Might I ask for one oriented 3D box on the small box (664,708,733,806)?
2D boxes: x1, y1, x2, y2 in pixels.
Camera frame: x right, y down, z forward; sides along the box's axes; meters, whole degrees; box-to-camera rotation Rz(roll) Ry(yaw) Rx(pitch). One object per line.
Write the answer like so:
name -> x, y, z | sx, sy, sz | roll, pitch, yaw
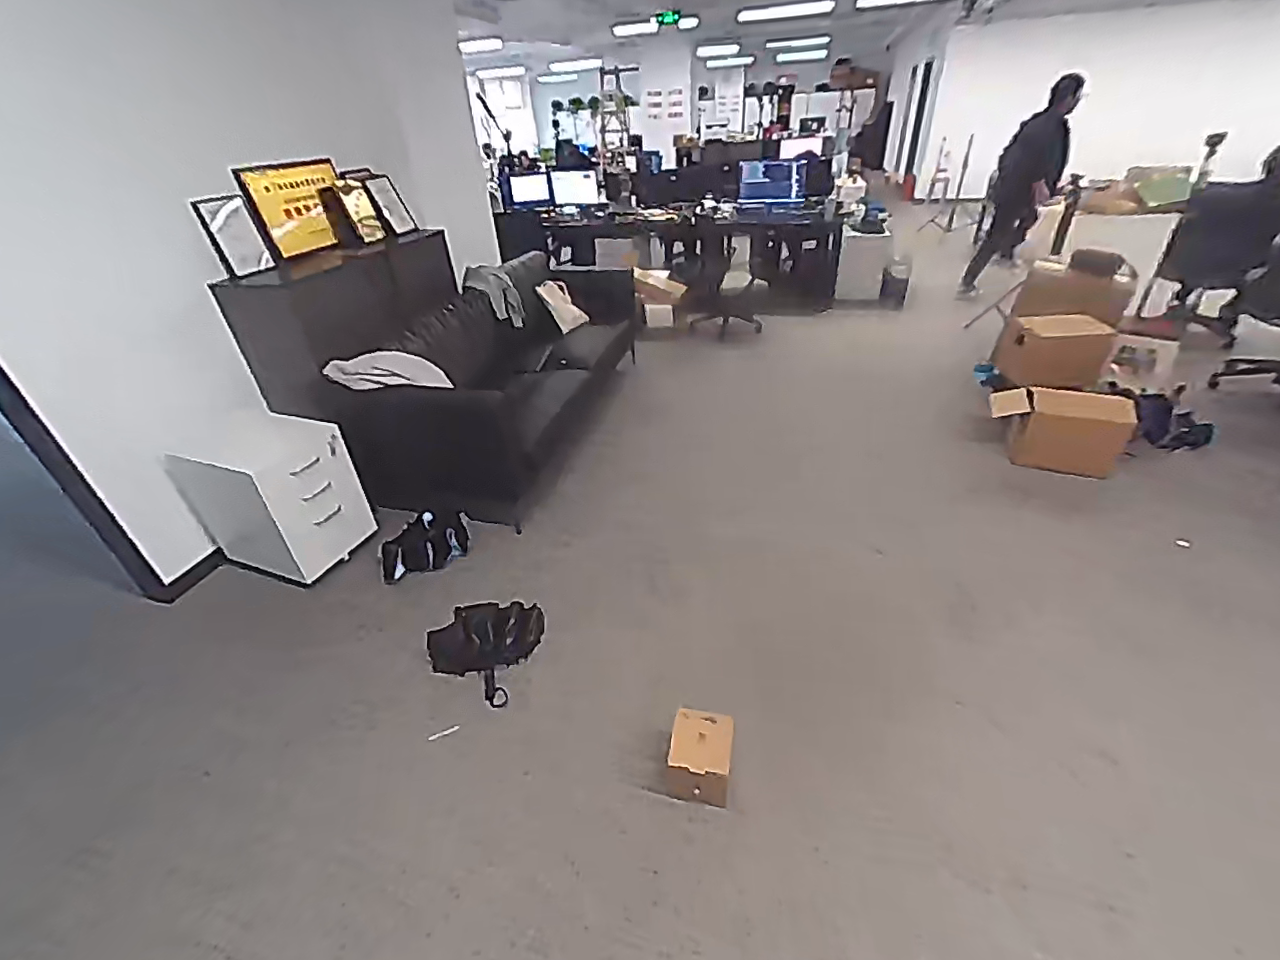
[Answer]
small box -> 0.169, 0.780, 1.518 | 0.168, 0.176, 0.179 | 5, 35, 13
